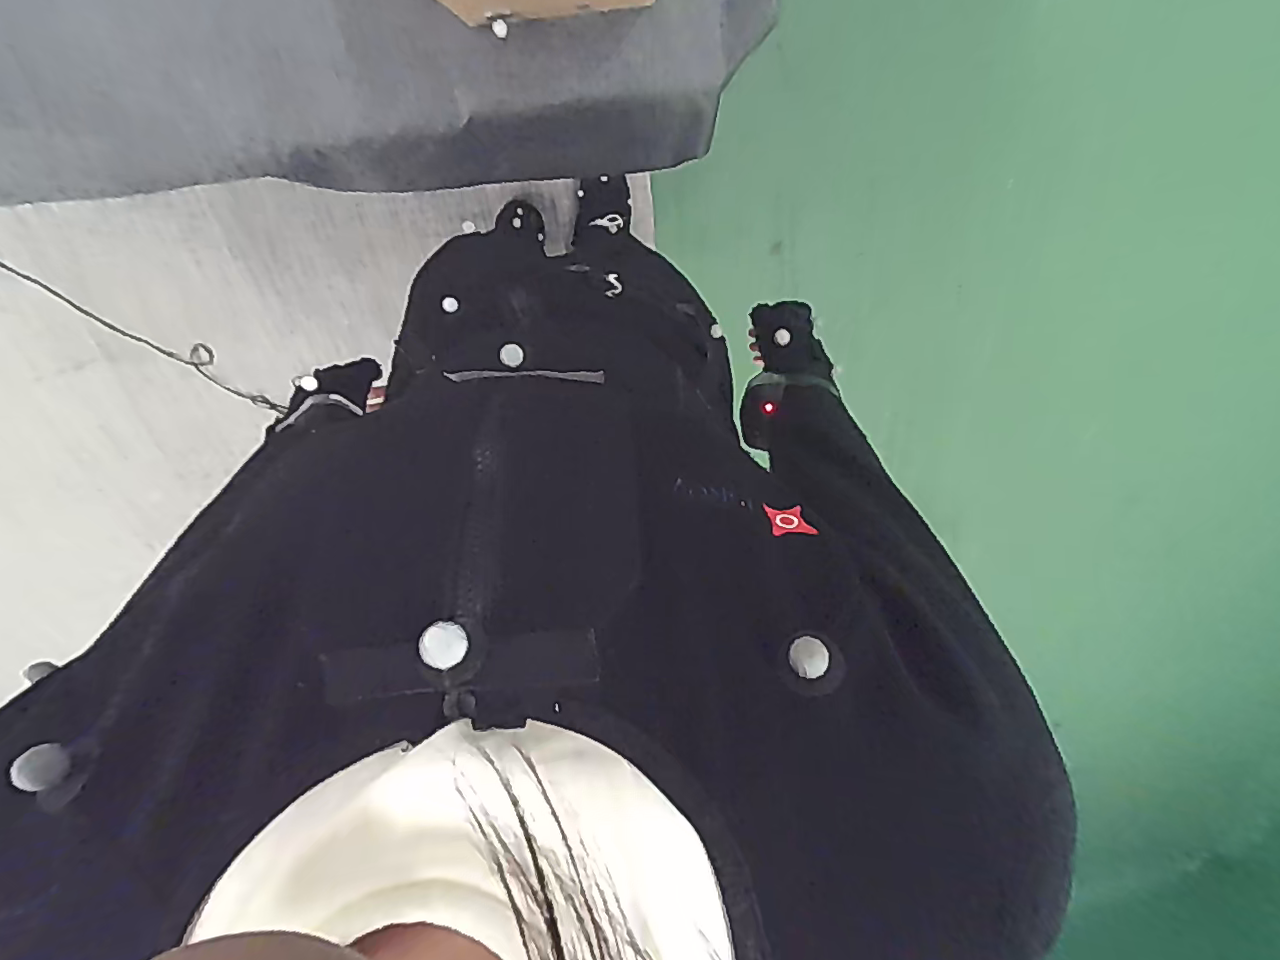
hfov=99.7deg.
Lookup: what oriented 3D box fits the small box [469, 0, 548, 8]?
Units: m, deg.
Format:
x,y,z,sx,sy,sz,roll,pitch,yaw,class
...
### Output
x,y,z,sx,sy,sz,roll,pitch,yaw,class
-0.076,-0.444,0.358,0.168,0.176,0.179,-6,120,2,small box
